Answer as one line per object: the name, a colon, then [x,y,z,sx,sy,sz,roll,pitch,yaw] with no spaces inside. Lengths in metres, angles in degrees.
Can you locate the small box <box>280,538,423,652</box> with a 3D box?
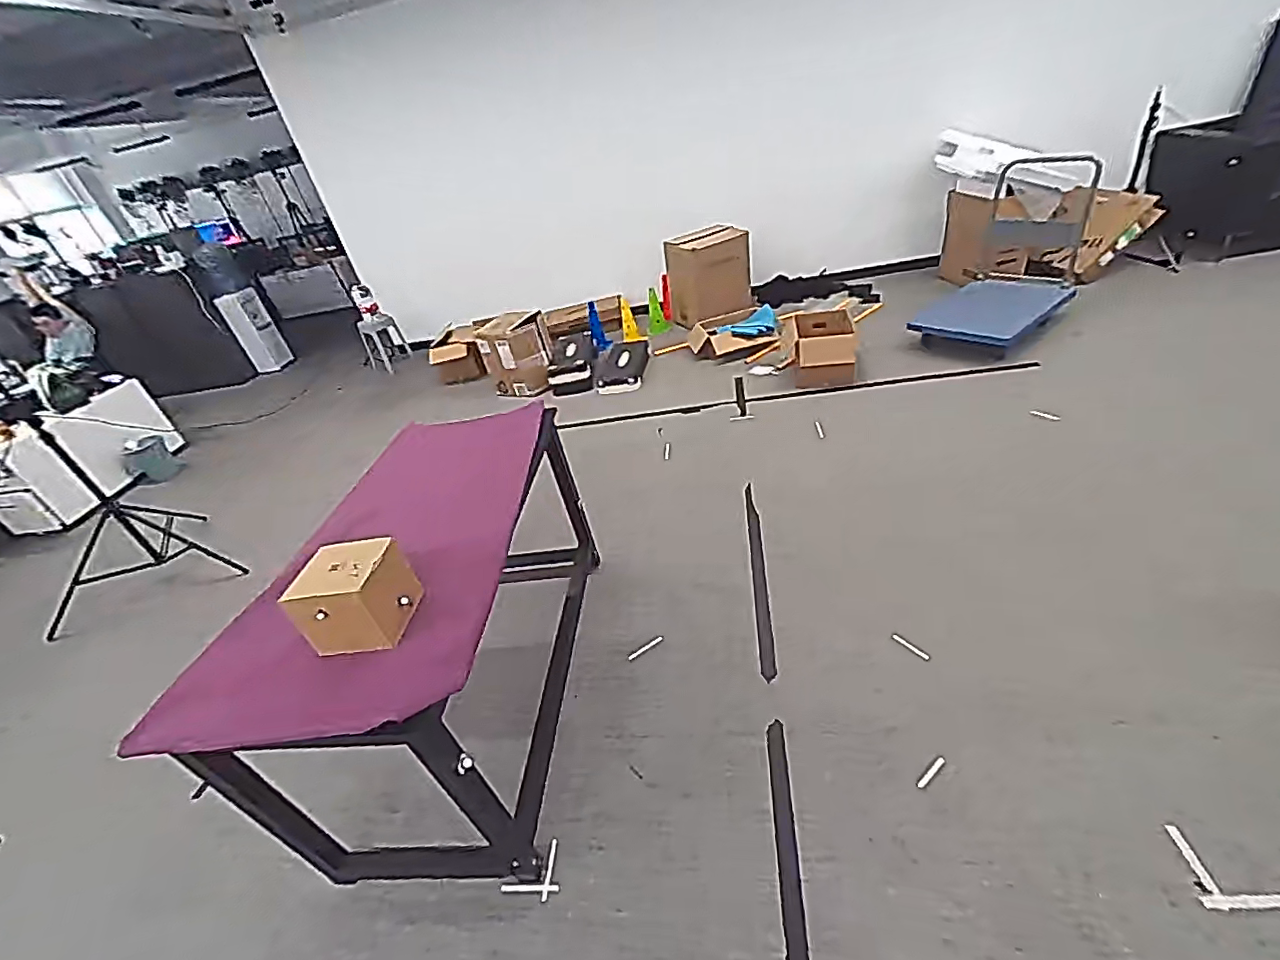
small box: [-0.596,0.246,1.143,0.179,0.176,0.168,-7,33,8]
